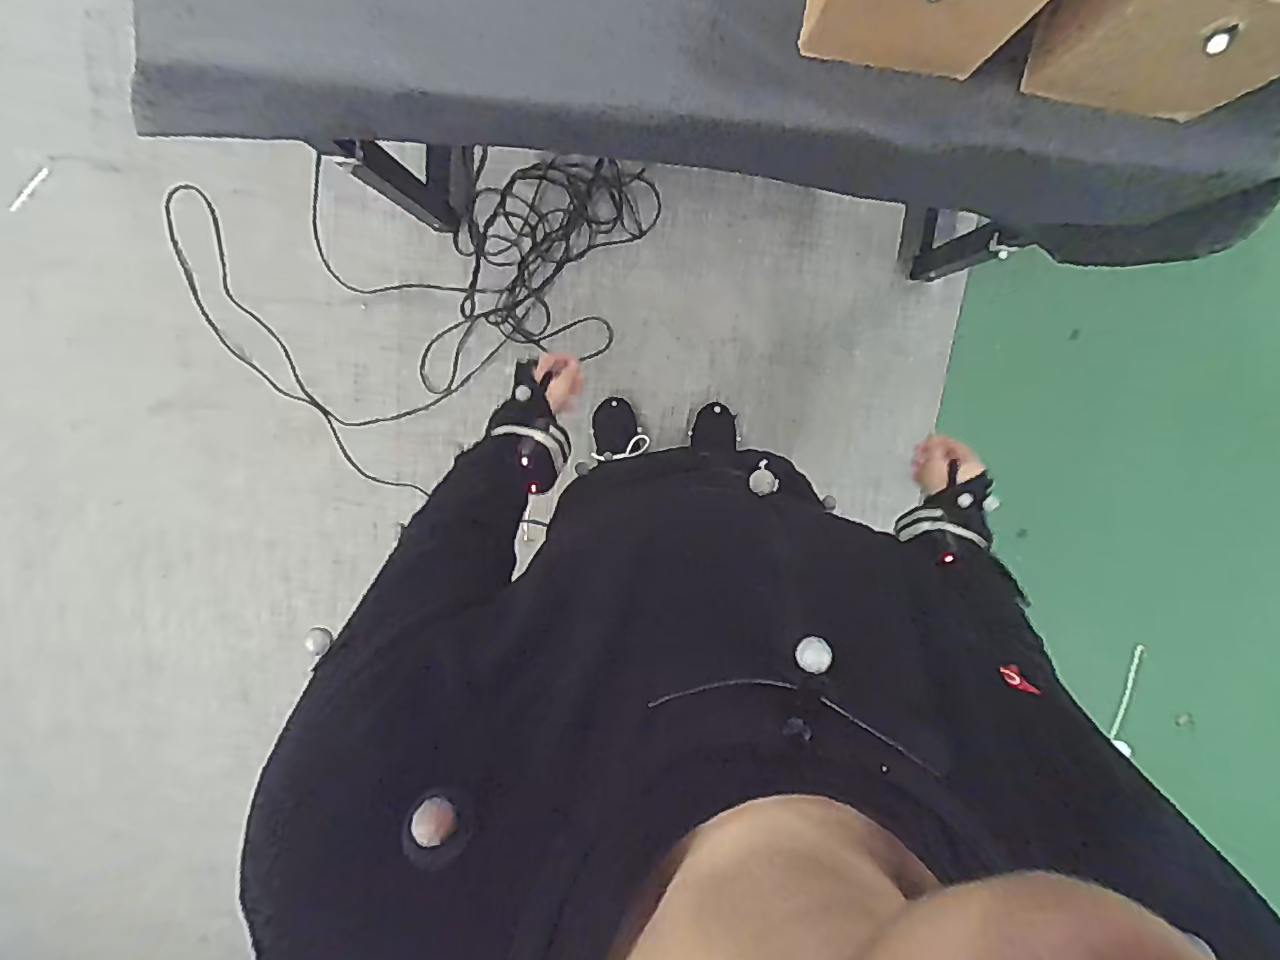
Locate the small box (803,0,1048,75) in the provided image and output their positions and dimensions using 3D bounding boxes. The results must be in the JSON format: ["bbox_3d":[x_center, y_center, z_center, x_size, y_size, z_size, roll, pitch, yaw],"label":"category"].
[{"bbox_3d":[0.257,-0.479,0.451,0.179,0.176,0.168,9,100,0],"label":"small box"}]
